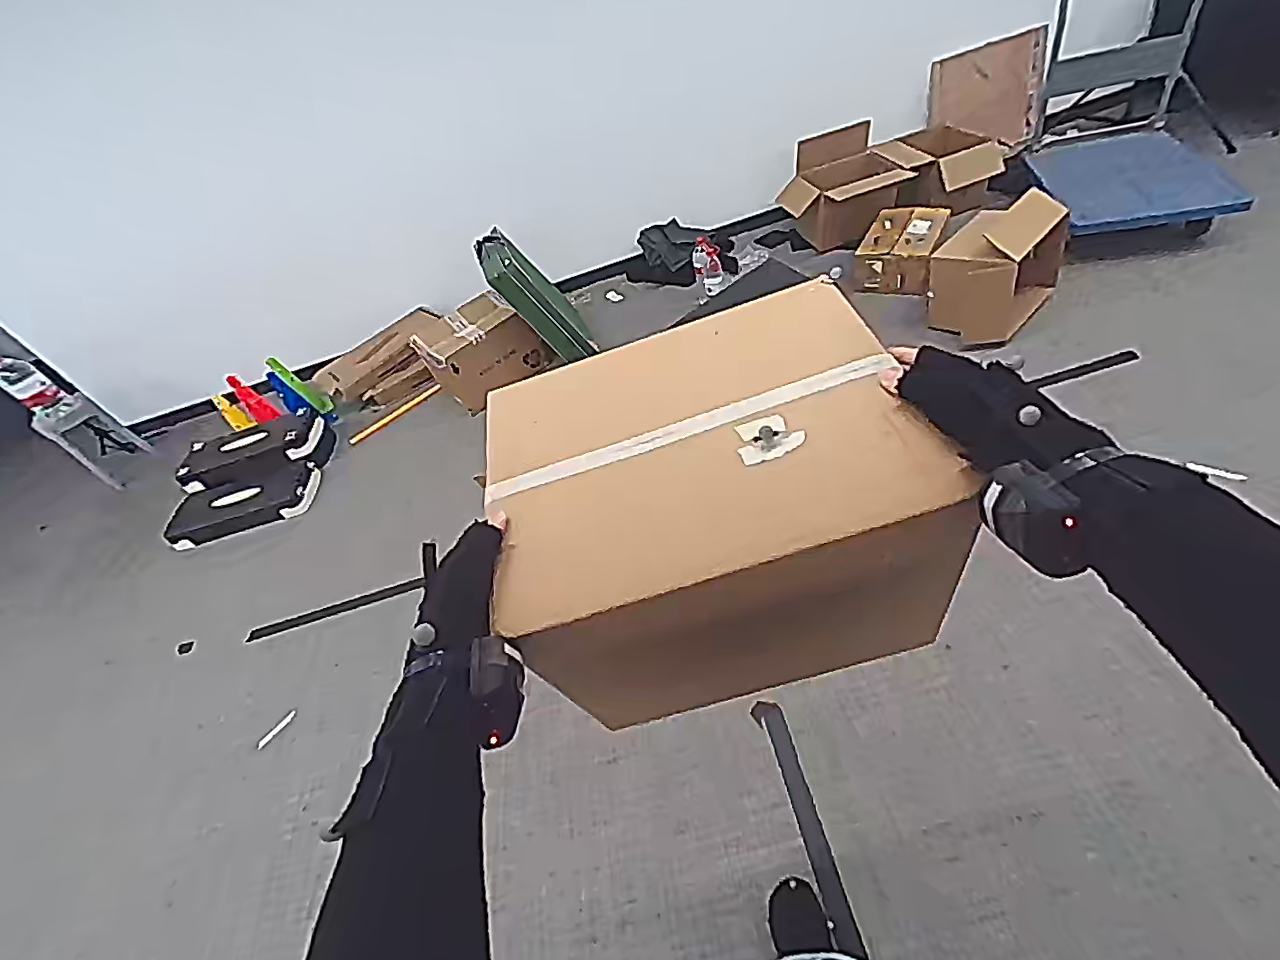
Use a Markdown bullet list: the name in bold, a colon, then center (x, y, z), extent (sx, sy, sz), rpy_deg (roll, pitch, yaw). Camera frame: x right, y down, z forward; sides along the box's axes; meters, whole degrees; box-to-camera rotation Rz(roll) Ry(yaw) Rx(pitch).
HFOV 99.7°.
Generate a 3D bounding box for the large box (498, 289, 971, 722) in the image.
- **large box**: center (0.084, 0.044, 0.646), extent (0.408, 0.320, 0.320), rpy_deg (-18, 51, 4)
